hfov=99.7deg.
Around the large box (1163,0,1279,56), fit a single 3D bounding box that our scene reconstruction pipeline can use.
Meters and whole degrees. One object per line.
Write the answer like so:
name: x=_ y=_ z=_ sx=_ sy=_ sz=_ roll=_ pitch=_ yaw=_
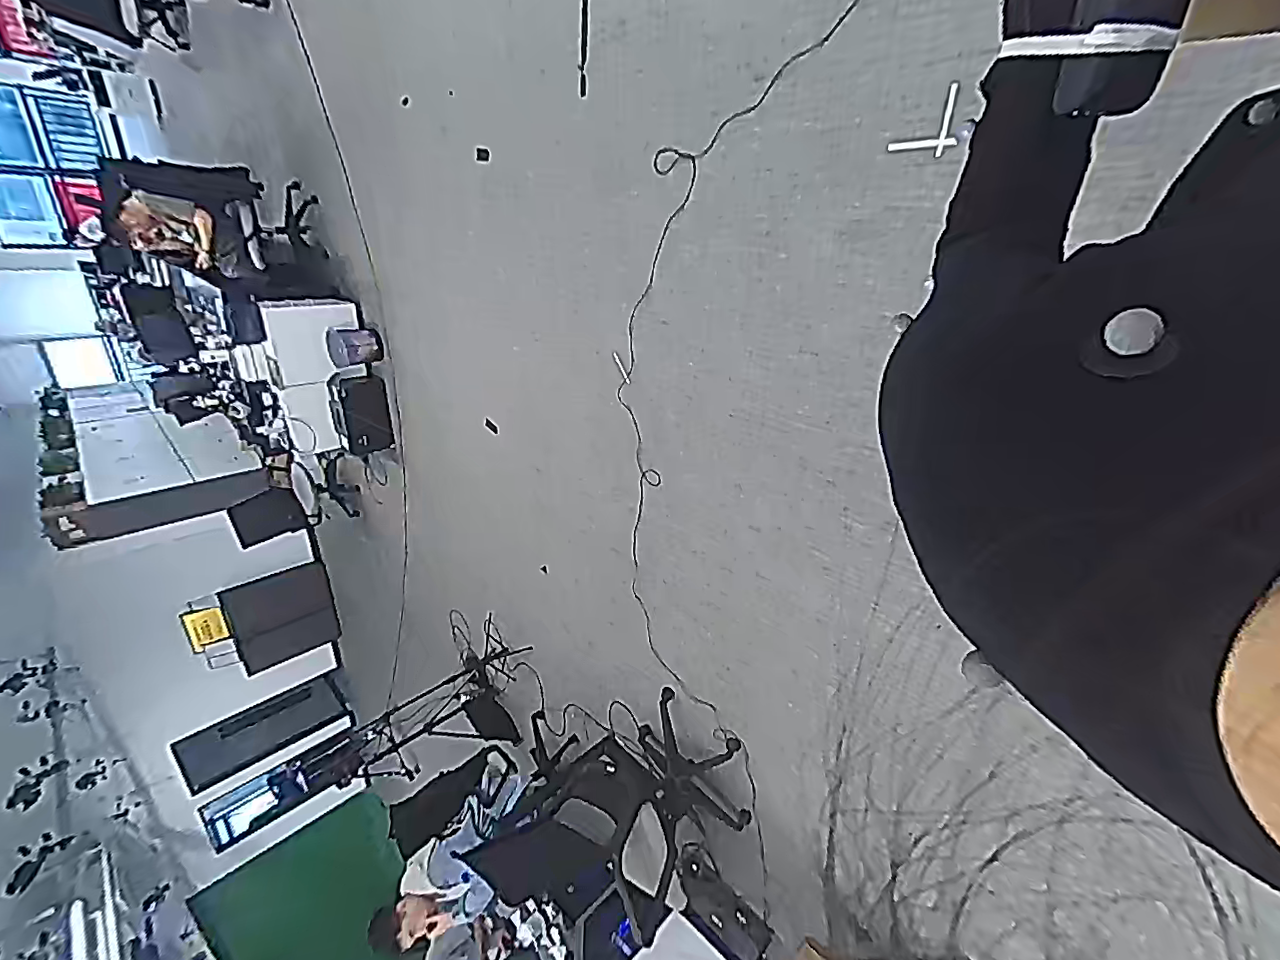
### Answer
large box: x=0.524 y=-0.412 z=0.206 sx=0.408 sy=0.320 sz=0.320 roll=24 pitch=125 yaw=37
